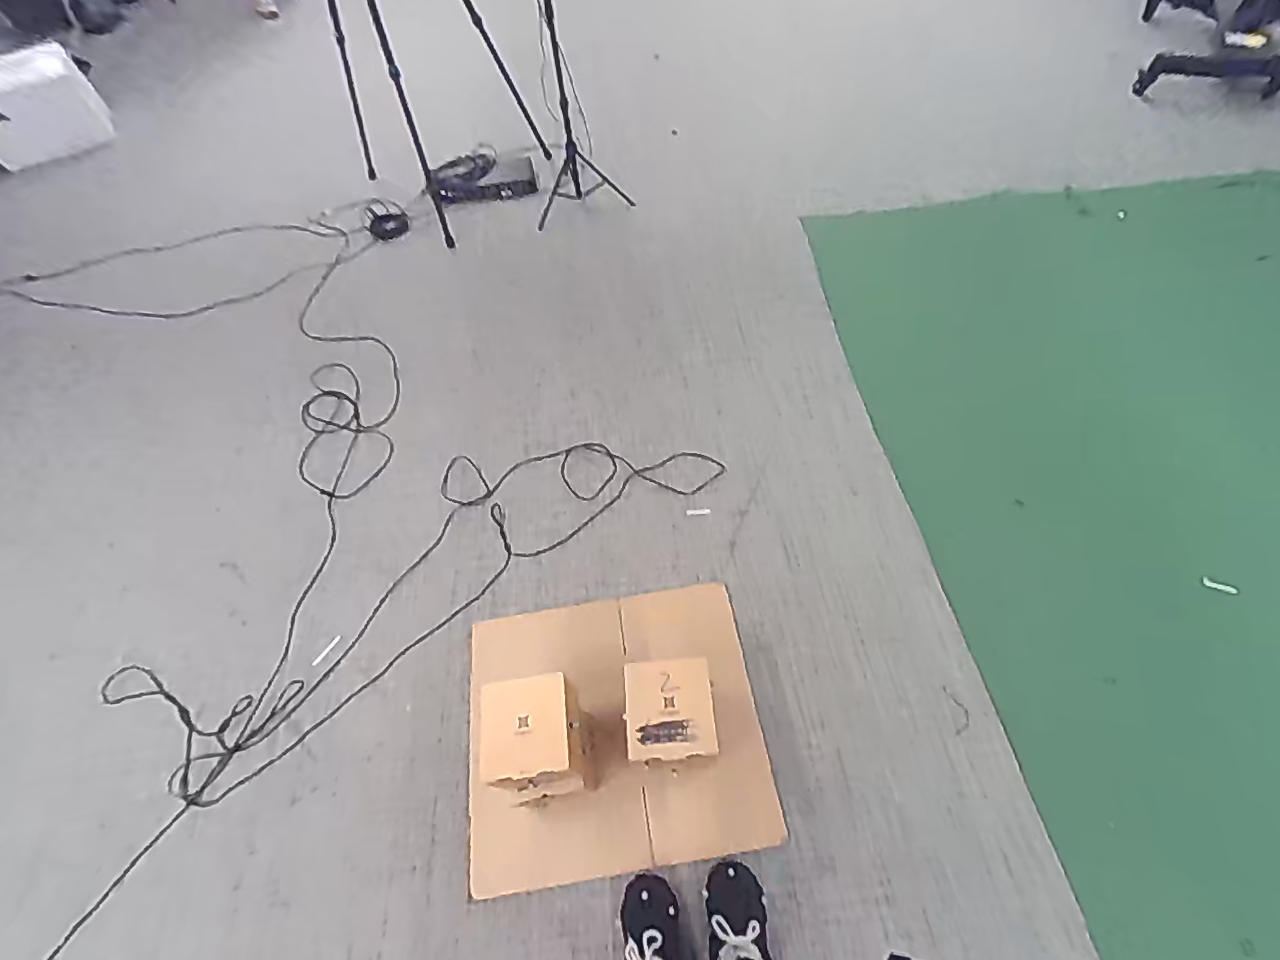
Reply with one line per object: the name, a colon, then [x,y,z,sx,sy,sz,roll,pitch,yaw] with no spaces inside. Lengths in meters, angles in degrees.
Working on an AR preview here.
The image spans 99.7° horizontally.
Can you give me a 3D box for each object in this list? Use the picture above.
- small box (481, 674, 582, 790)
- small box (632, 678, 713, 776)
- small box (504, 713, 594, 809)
small box: [-0.212,0.507,1.083,0.168,0.176,0.179,-8,57,-1]
small box: [0.071,0.562,1.223,0.168,0.176,0.179,-6,58,2]
small box: [-0.202,0.618,1.205,0.168,0.176,0.179,-11,58,-2]
